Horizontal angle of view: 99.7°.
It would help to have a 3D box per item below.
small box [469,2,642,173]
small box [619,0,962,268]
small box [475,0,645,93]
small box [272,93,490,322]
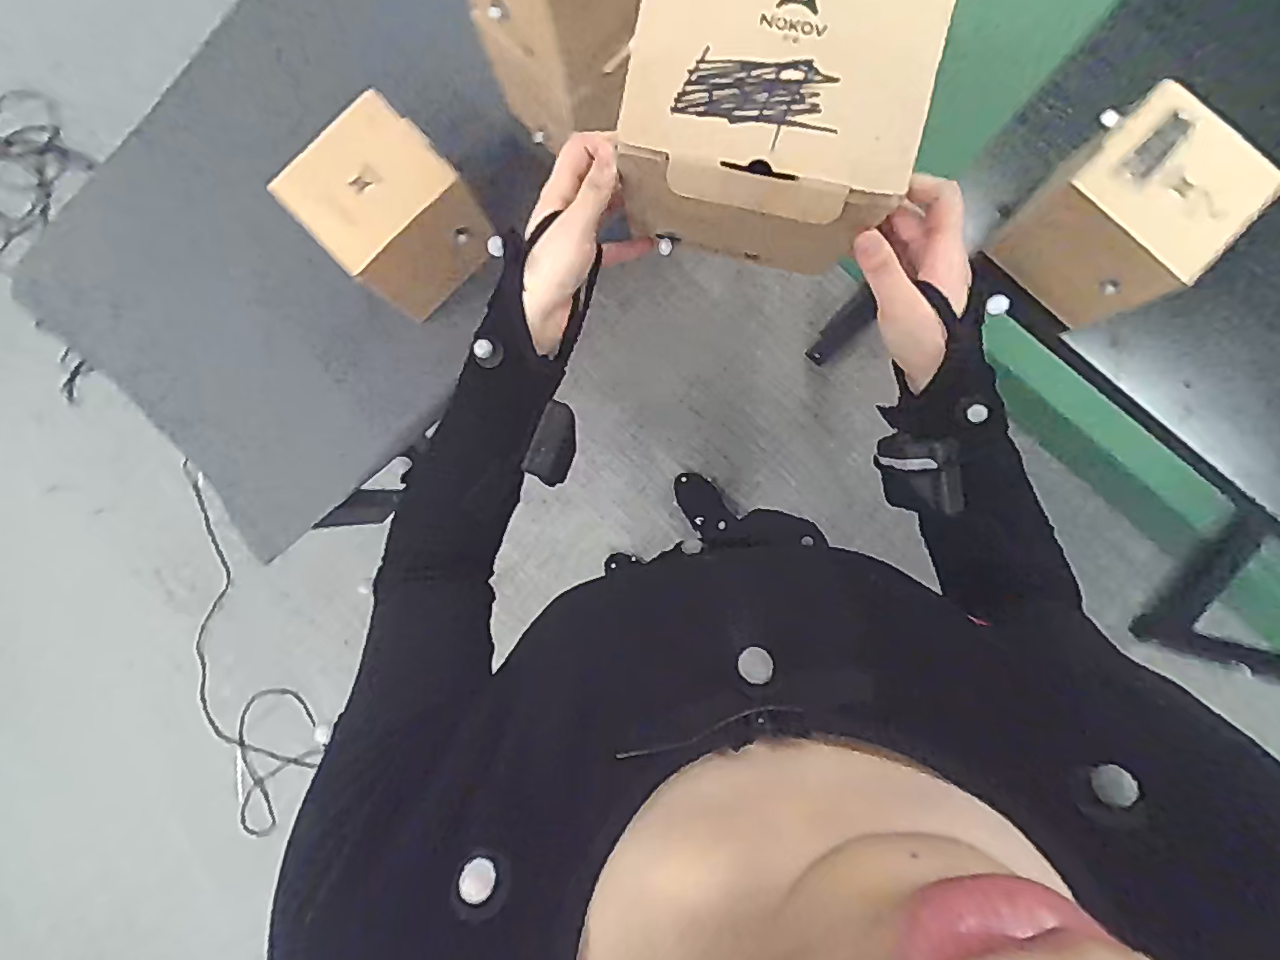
[{"bbox_3d":[-0.084,-0.550,0.716,0.168,0.176,0.179,-44,86,1],"label":"small box"},{"bbox_3d":[0.089,-0.261,0.365,0.168,0.176,0.179,12,98,1],"label":"small box"},{"bbox_3d":[-0.088,-0.565,0.554,0.168,0.176,0.179,44,92,5],"label":"small box"},{"bbox_3d":[-0.326,-0.348,0.726,0.179,0.176,0.168,-45,85,2],"label":"small box"}]
